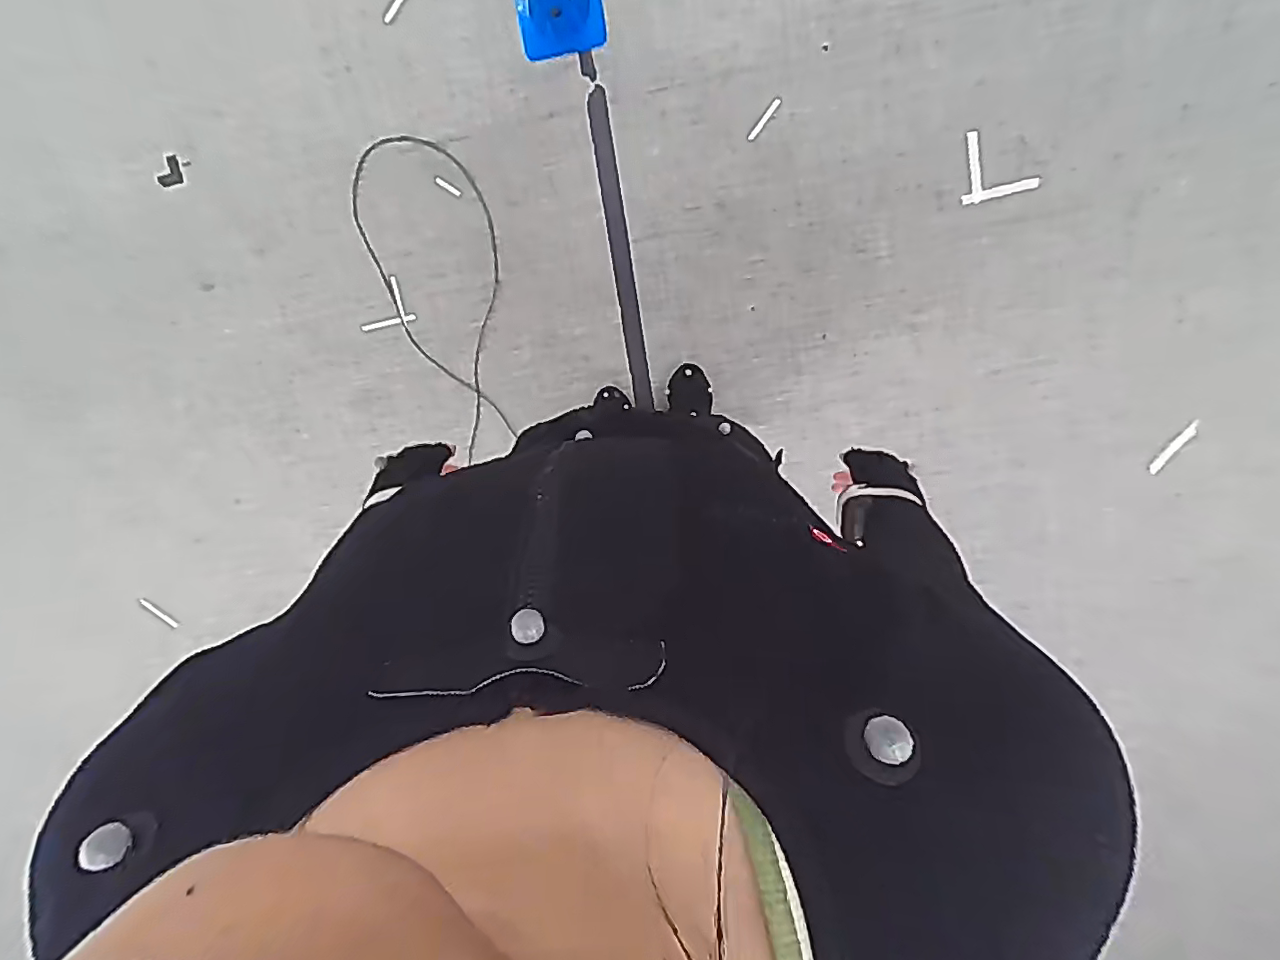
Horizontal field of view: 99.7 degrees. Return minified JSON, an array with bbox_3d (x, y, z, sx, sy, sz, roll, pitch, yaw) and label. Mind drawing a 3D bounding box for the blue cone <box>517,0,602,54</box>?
[{"bbox_3d":[-0.202,-1.057,1.076,0.193,0.380,0.192,-10,102,7],"label":"blue cone"}]
